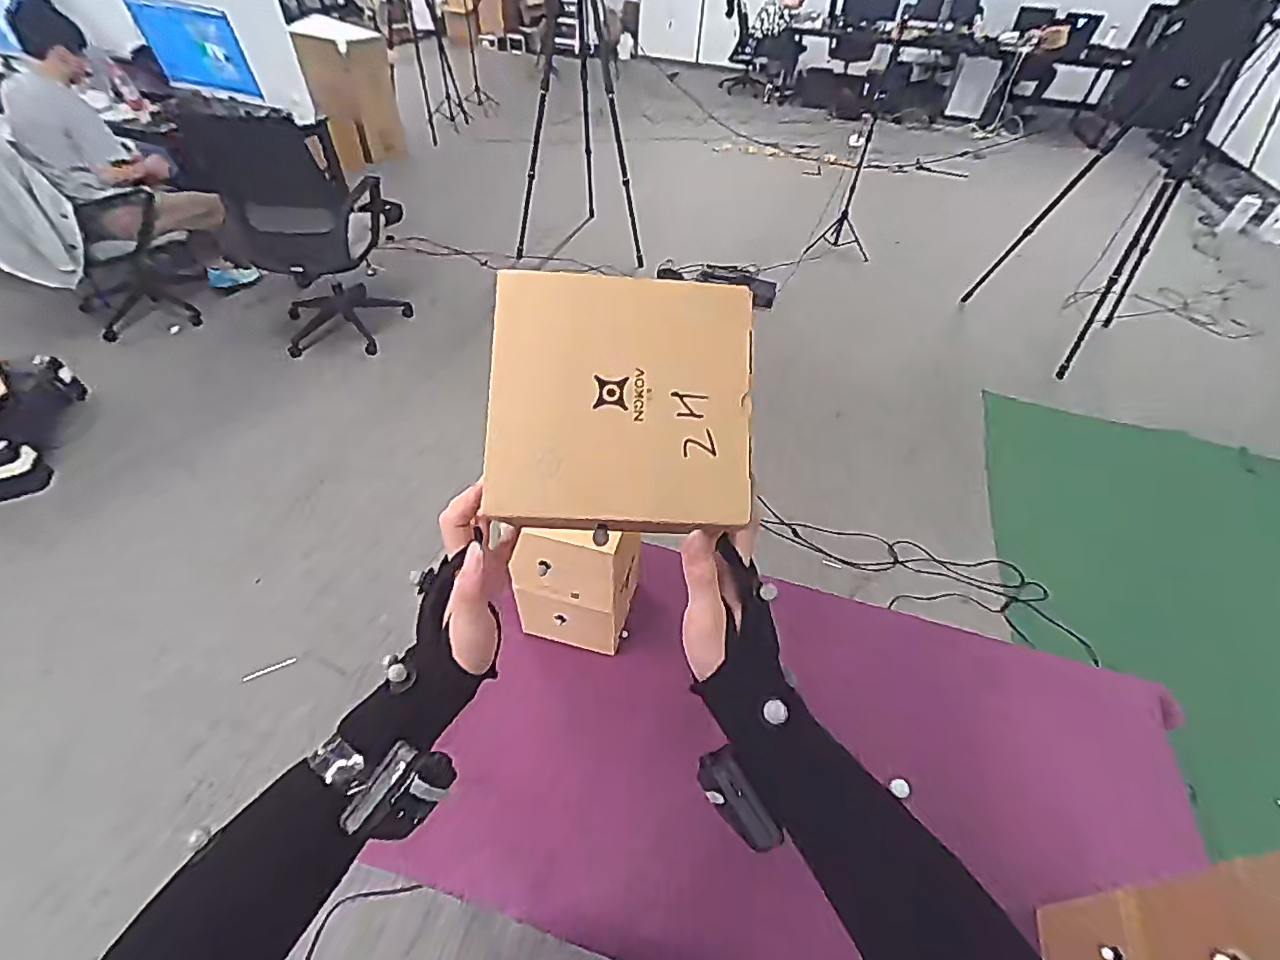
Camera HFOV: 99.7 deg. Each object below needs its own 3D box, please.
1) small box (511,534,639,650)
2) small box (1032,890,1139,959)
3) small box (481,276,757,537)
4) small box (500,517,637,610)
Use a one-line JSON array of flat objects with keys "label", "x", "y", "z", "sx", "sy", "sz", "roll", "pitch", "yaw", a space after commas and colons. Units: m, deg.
[{"label": "small box", "x": -0.108, "y": 0.182, "z": 0.963, "sx": 0.179, "sy": 0.176, "sz": 0.168, "roll": 12, "pitch": 47, "yaw": 8}, {"label": "small box", "x": 0.592, "y": 0.606, "z": 0.614, "sx": 0.179, "sy": 0.176, "sz": 0.168, "roll": 18, "pitch": 47, "yaw": 12}, {"label": "small box", "x": -0.016, "y": -0.042, "z": 0.434, "sx": 0.179, "sy": 0.176, "sz": 0.168, "roll": 3, "pitch": 83, "yaw": -5}, {"label": "small box", "x": -0.096, "y": 0.076, "z": 0.841, "sx": 0.168, "sy": 0.176, "sz": 0.179, "roll": 12, "pitch": 47, "yaw": 8}]
